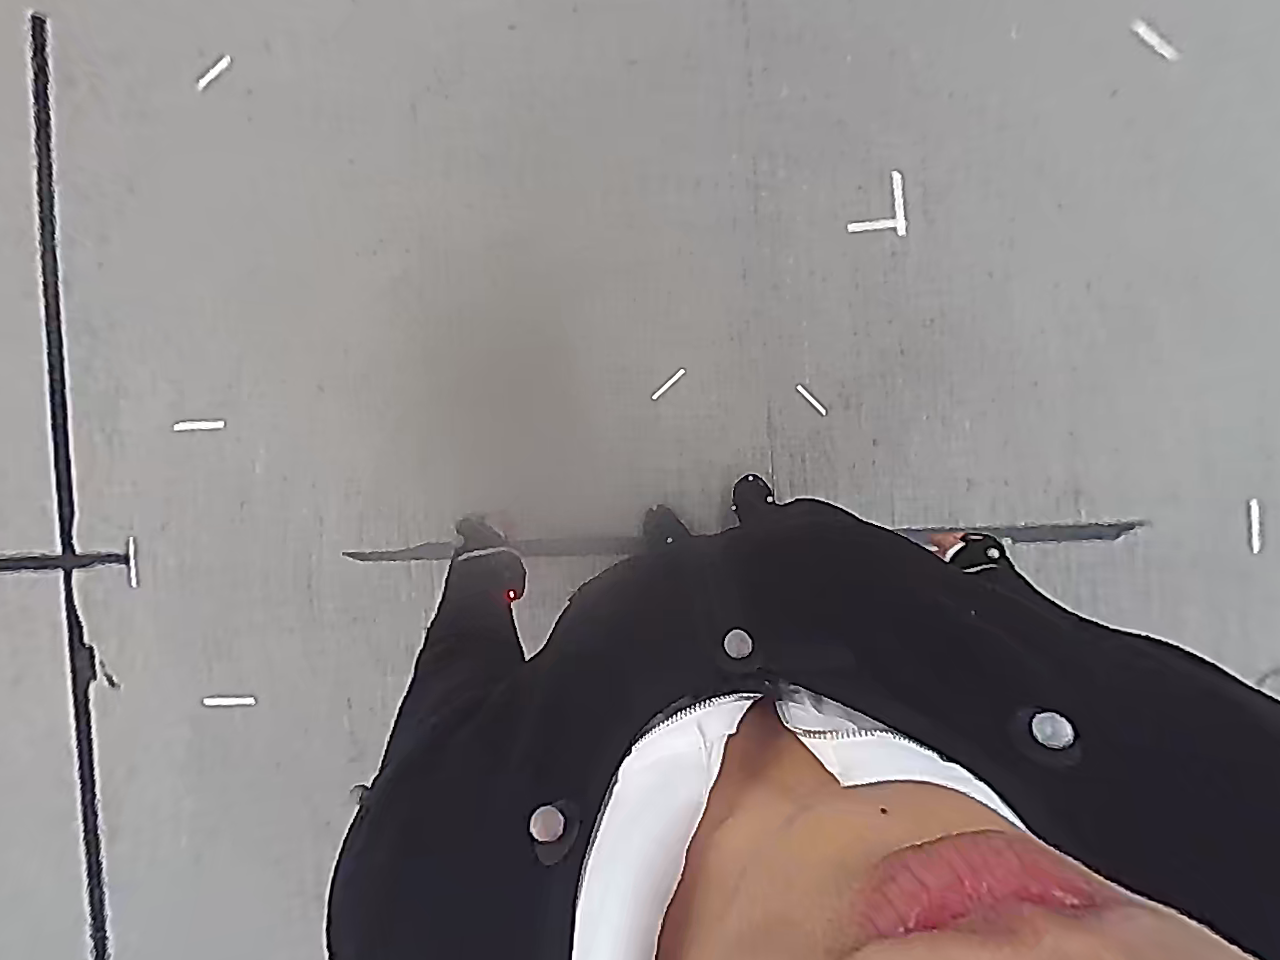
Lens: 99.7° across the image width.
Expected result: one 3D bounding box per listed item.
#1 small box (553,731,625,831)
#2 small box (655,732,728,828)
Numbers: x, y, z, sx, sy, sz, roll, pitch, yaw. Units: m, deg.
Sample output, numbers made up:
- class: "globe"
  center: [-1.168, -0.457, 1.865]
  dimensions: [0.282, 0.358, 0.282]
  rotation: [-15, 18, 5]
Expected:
- class: "small box"
  center: [-0.130, 0.795, 1.437]
  dimensions: [0.168, 0.176, 0.179]
  rotation: [-4, 91, 2]
- class: "small box"
  center: [0.133, 0.786, 1.428]
  dimensions: [0.179, 0.176, 0.168]
  rotation: [-3, 91, 1]
